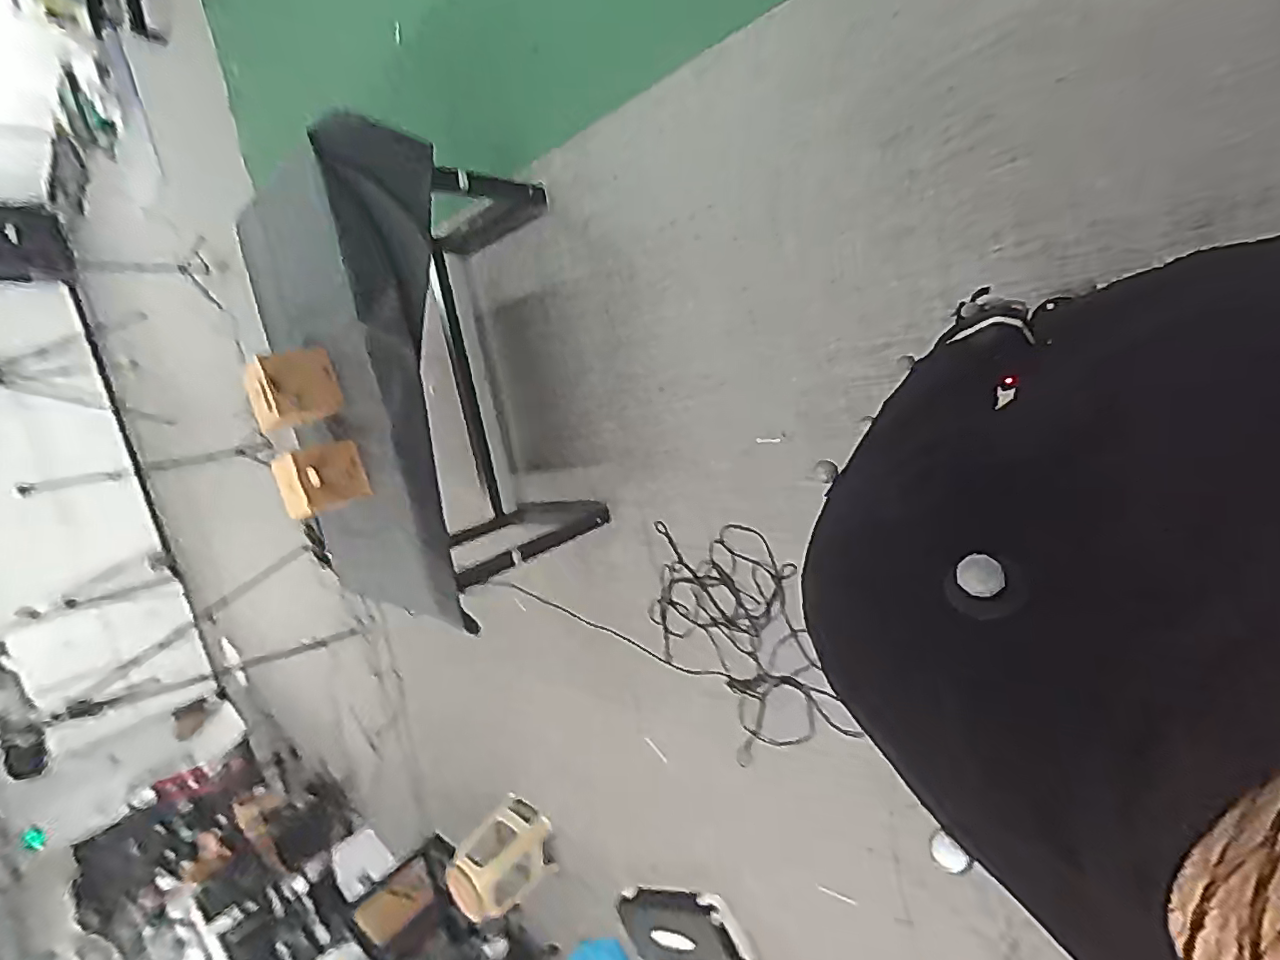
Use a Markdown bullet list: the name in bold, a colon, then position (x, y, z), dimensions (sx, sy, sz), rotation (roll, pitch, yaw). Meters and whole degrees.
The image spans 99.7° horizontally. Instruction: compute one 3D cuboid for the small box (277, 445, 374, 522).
- **small box**: position (-0.873, 0.009, 1.508), dimensions (0.179, 0.176, 0.168), rotation (-13, 96, 42)
